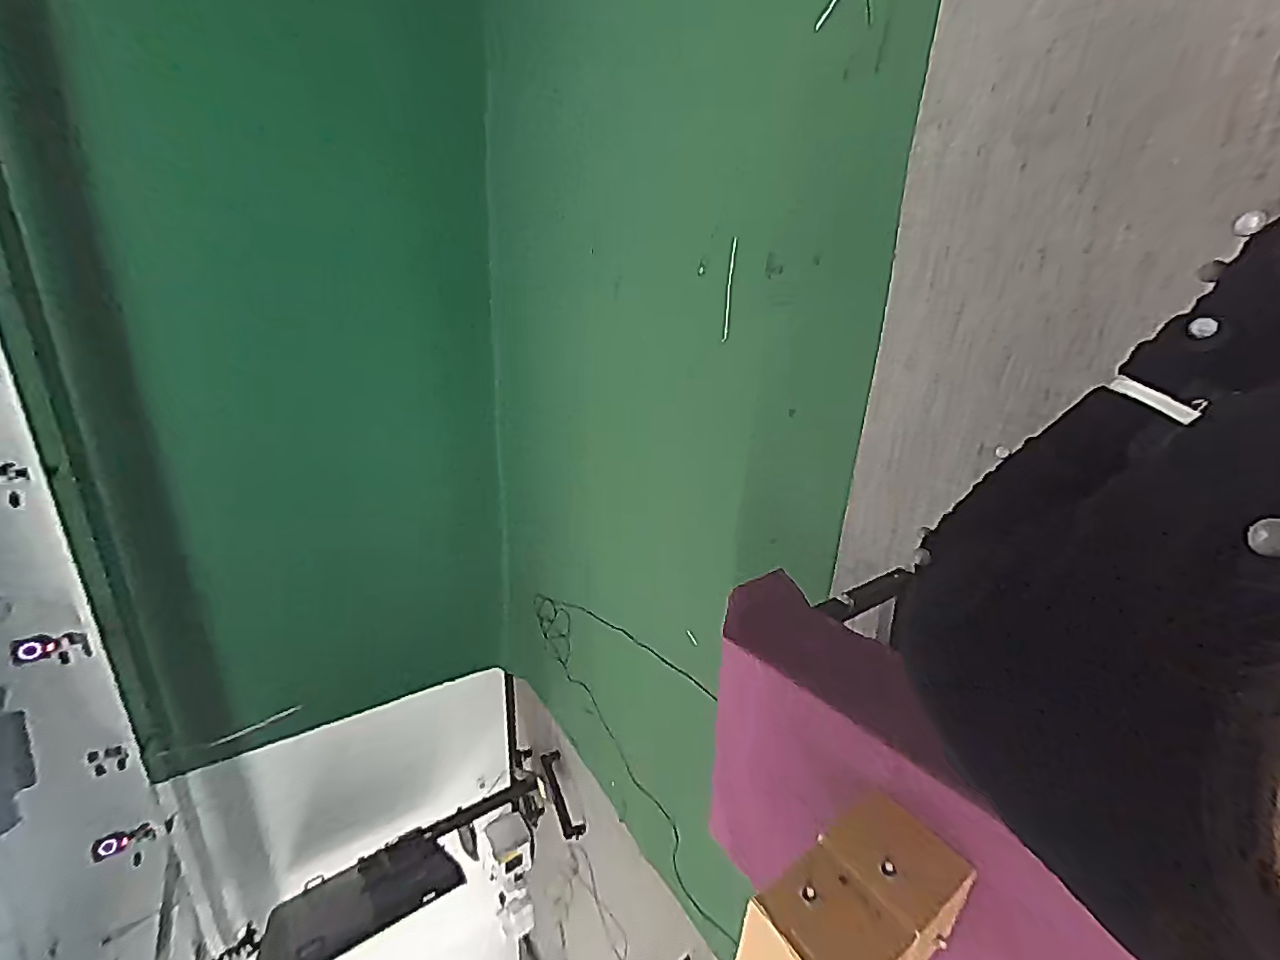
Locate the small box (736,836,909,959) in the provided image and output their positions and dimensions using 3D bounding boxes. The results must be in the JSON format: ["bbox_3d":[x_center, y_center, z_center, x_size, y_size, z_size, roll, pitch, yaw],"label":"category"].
[{"bbox_3d":[0.271,0.689,0.811,0.168,0.176,0.179,33,126,49],"label":"small box"}]

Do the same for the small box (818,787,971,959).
[{"bbox_3d":[0.407,0.657,0.895,0.179,0.176,0.168,32,124,49],"label":"small box"}]
